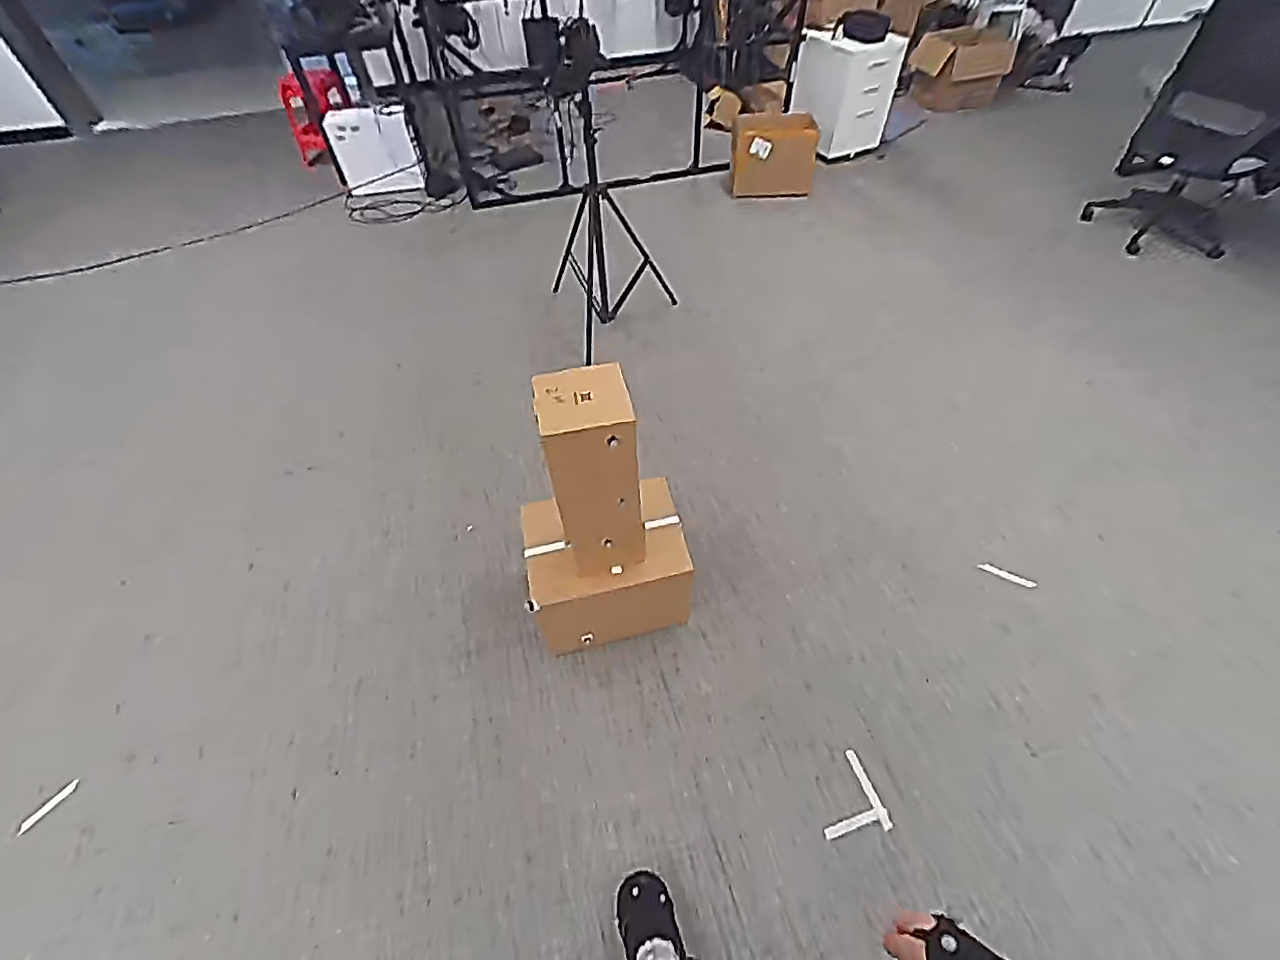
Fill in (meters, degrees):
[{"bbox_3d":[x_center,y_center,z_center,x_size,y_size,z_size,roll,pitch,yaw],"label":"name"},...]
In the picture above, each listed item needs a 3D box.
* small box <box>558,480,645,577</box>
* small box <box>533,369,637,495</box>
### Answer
[{"bbox_3d":[-0.092,0.115,1.322,0.179,0.176,0.168,-13,53,-9],"label":"small box"},{"bbox_3d":[-0.105,-0.092,1.067,0.179,0.176,0.168,-11,52,-6],"label":"small box"}]
